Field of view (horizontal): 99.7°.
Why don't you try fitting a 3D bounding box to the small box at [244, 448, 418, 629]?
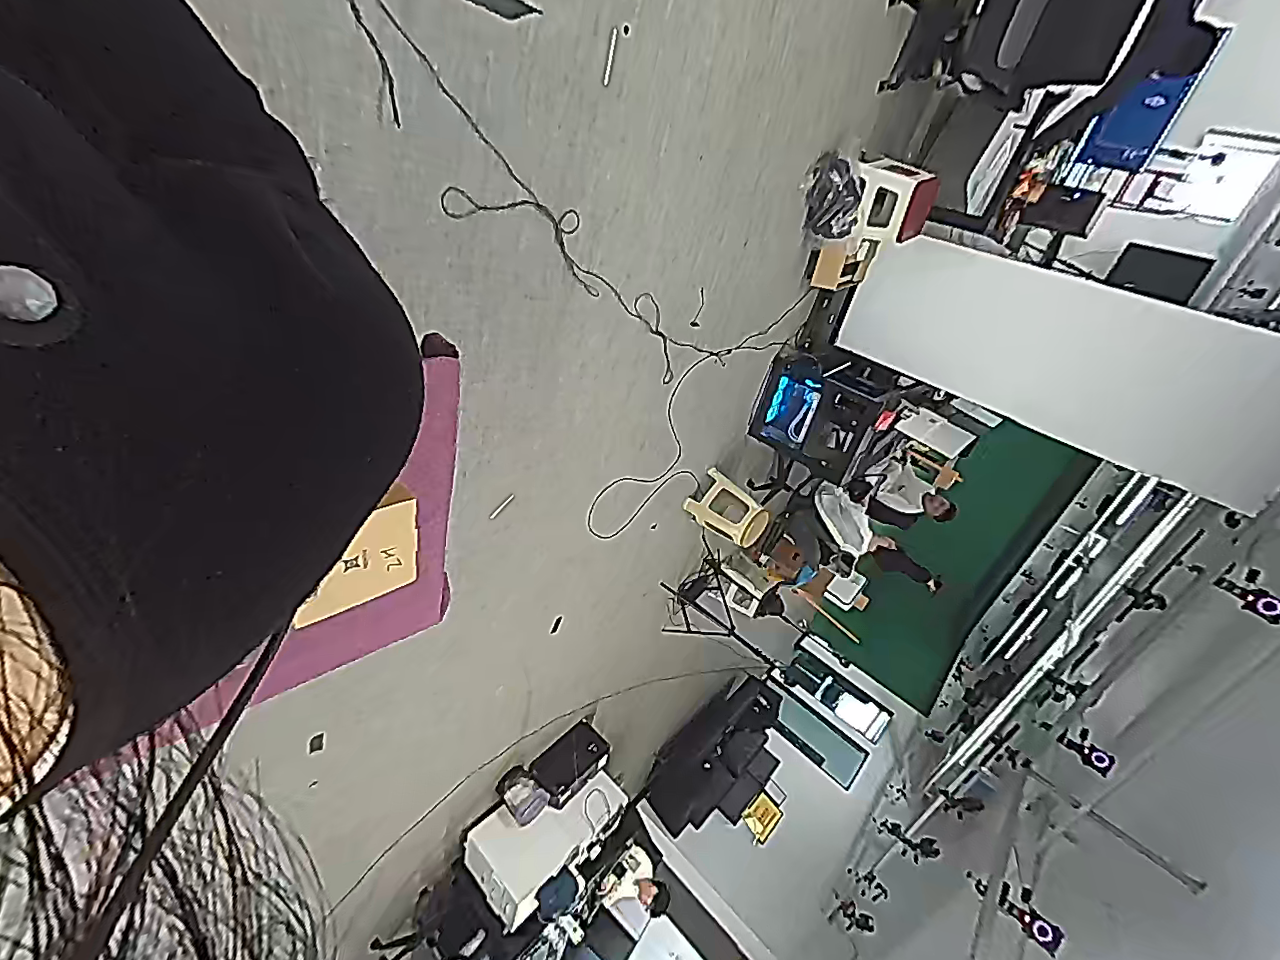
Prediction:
[{"bbox_3d":[-0.448,0.074,0.789,0.179,0.176,0.168,-22,138,-44],"label":"small box"}]
